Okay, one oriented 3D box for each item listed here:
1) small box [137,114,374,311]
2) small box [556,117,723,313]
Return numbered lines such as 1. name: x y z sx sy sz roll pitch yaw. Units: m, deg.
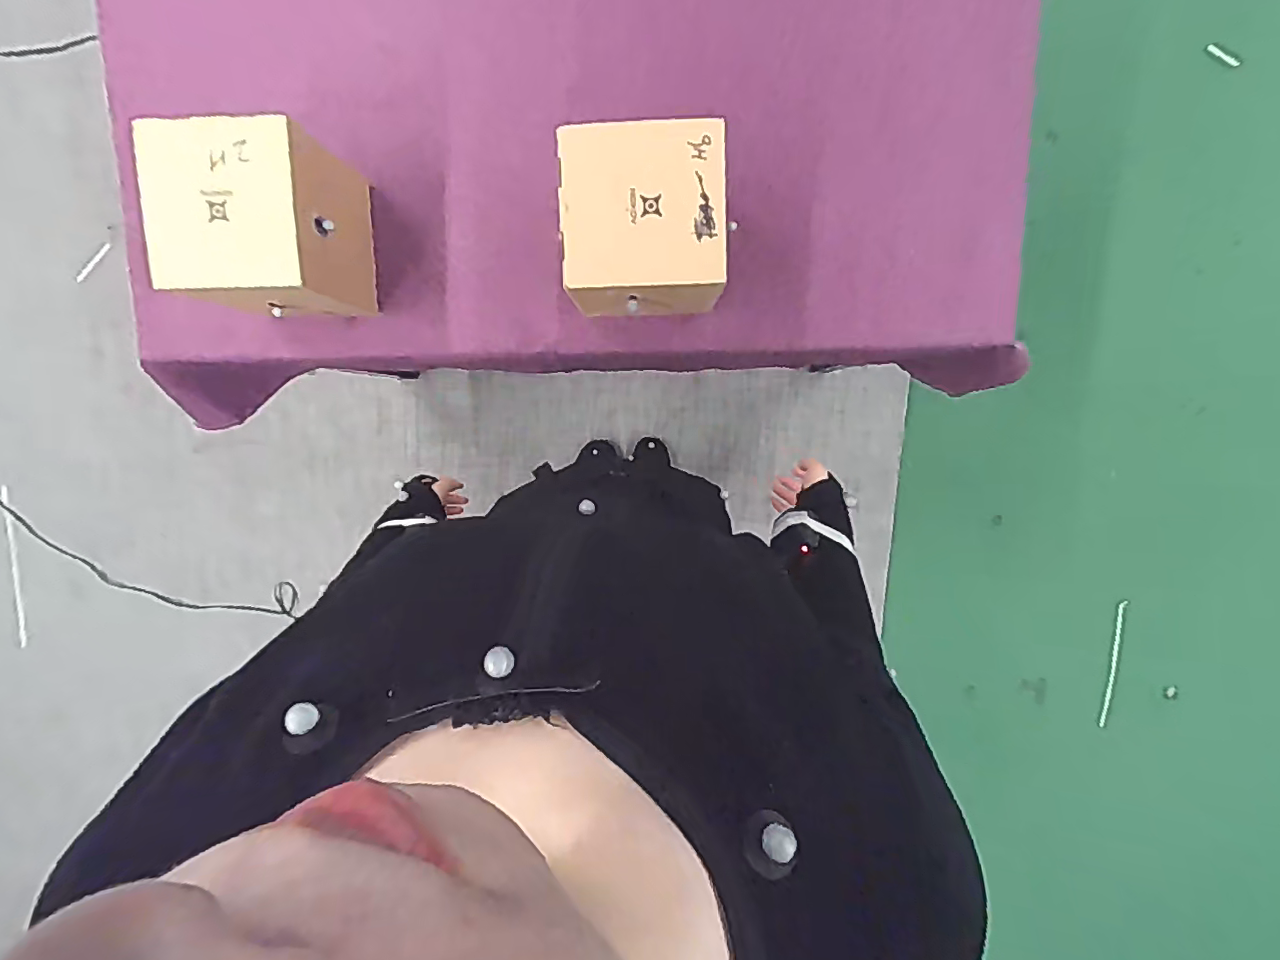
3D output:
1. small box: -0.443 -0.305 0.653 0.168 0.176 0.179 0 97 1
2. small box: 0.004 -0.298 0.644 0.179 0.176 0.168 -1 97 2
